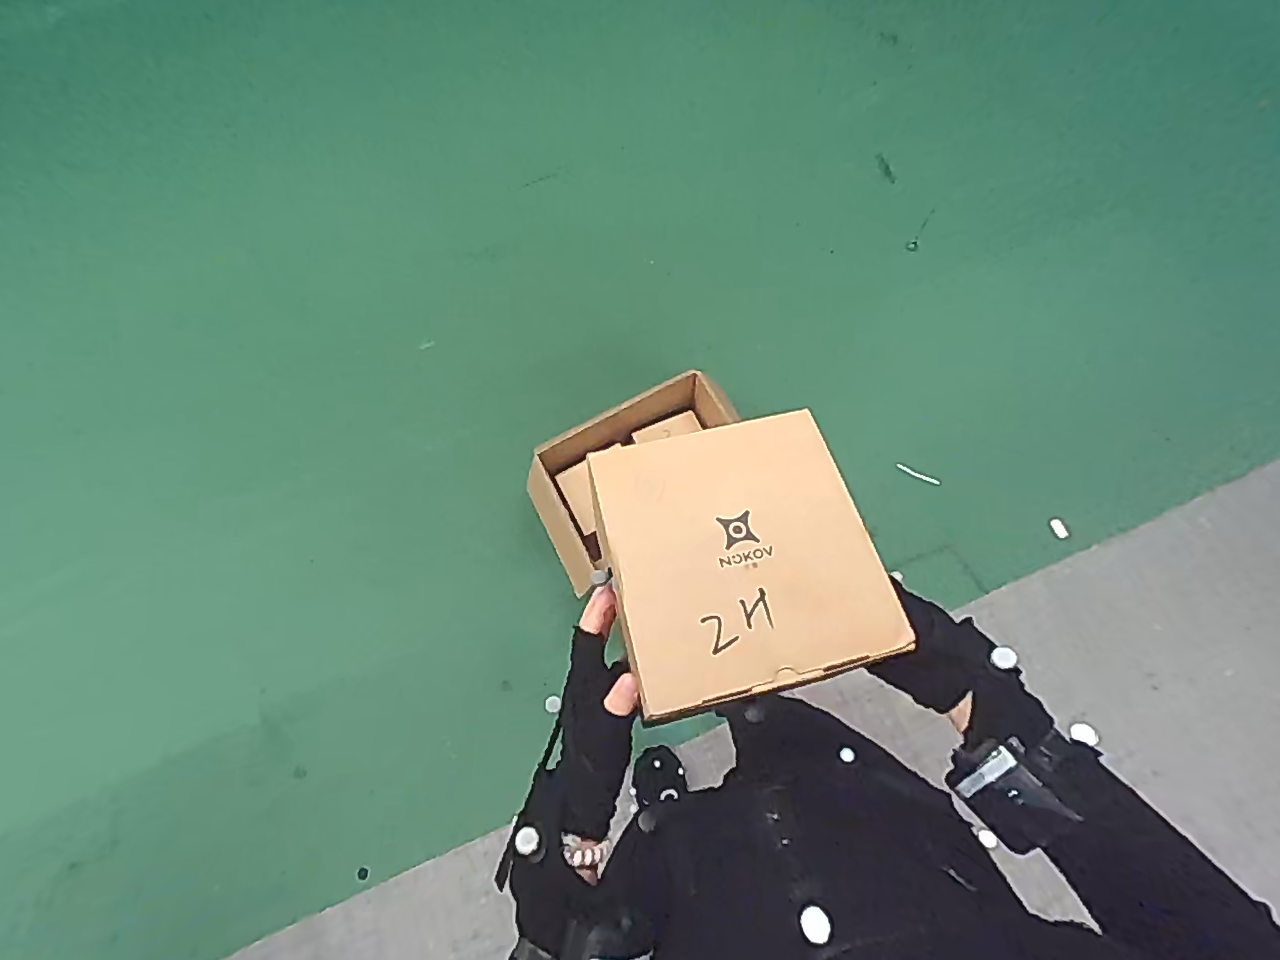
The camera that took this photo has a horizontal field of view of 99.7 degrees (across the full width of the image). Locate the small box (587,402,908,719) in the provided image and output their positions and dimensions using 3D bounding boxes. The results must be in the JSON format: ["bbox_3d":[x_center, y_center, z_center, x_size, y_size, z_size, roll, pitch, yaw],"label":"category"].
[{"bbox_3d":[0.059,0.070,0.416,0.168,0.176,0.179,-13,65,-6],"label":"small box"}]
